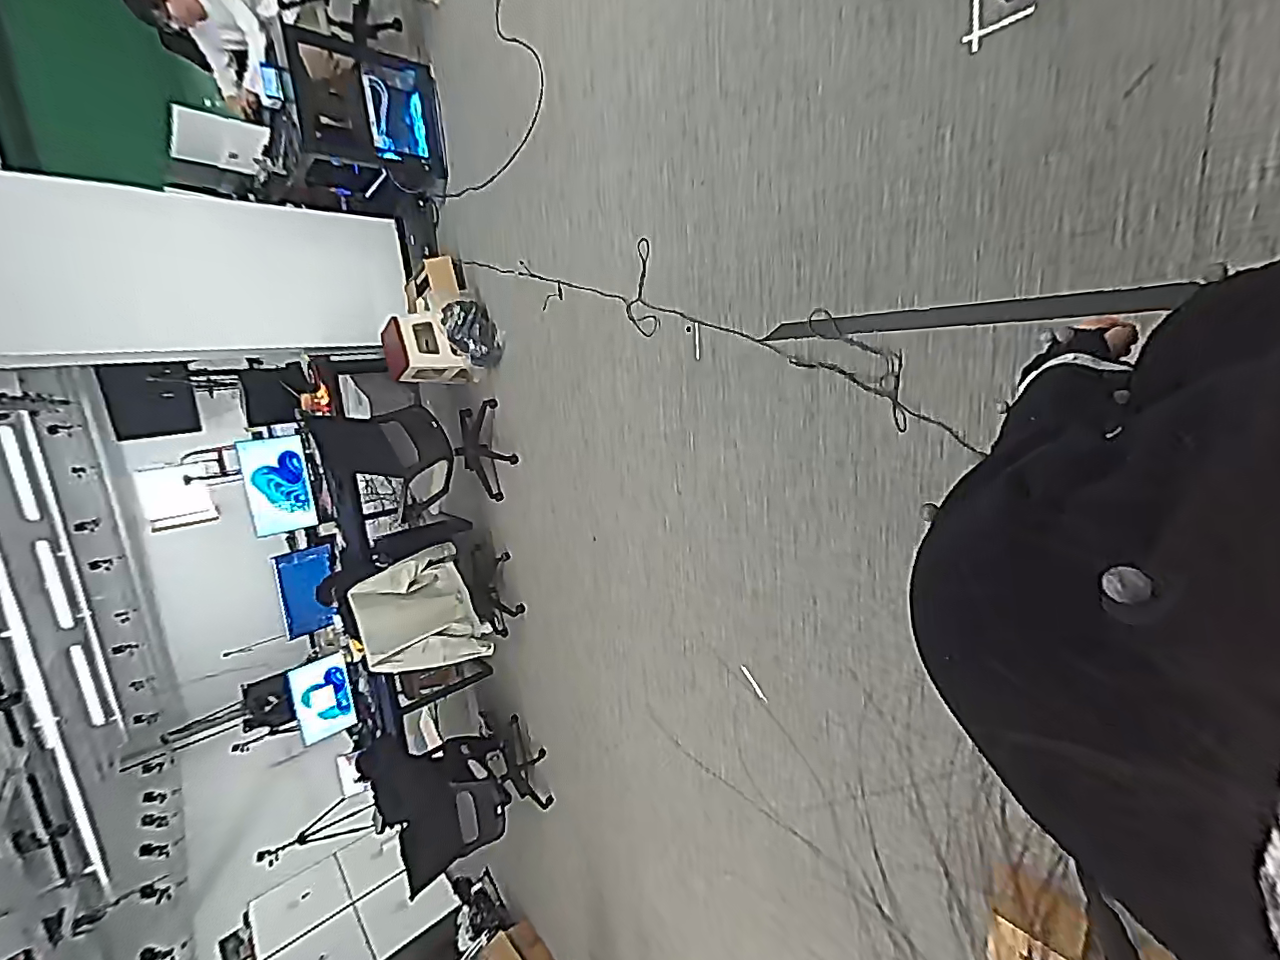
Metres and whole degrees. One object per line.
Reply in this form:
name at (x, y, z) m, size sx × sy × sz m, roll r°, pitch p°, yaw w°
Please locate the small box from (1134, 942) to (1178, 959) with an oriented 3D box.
small box at (1.206, 1.216, 1.214) m, size 0.168 × 0.176 × 0.179 m, roll 13°, pitch 111°, yaw 46°
